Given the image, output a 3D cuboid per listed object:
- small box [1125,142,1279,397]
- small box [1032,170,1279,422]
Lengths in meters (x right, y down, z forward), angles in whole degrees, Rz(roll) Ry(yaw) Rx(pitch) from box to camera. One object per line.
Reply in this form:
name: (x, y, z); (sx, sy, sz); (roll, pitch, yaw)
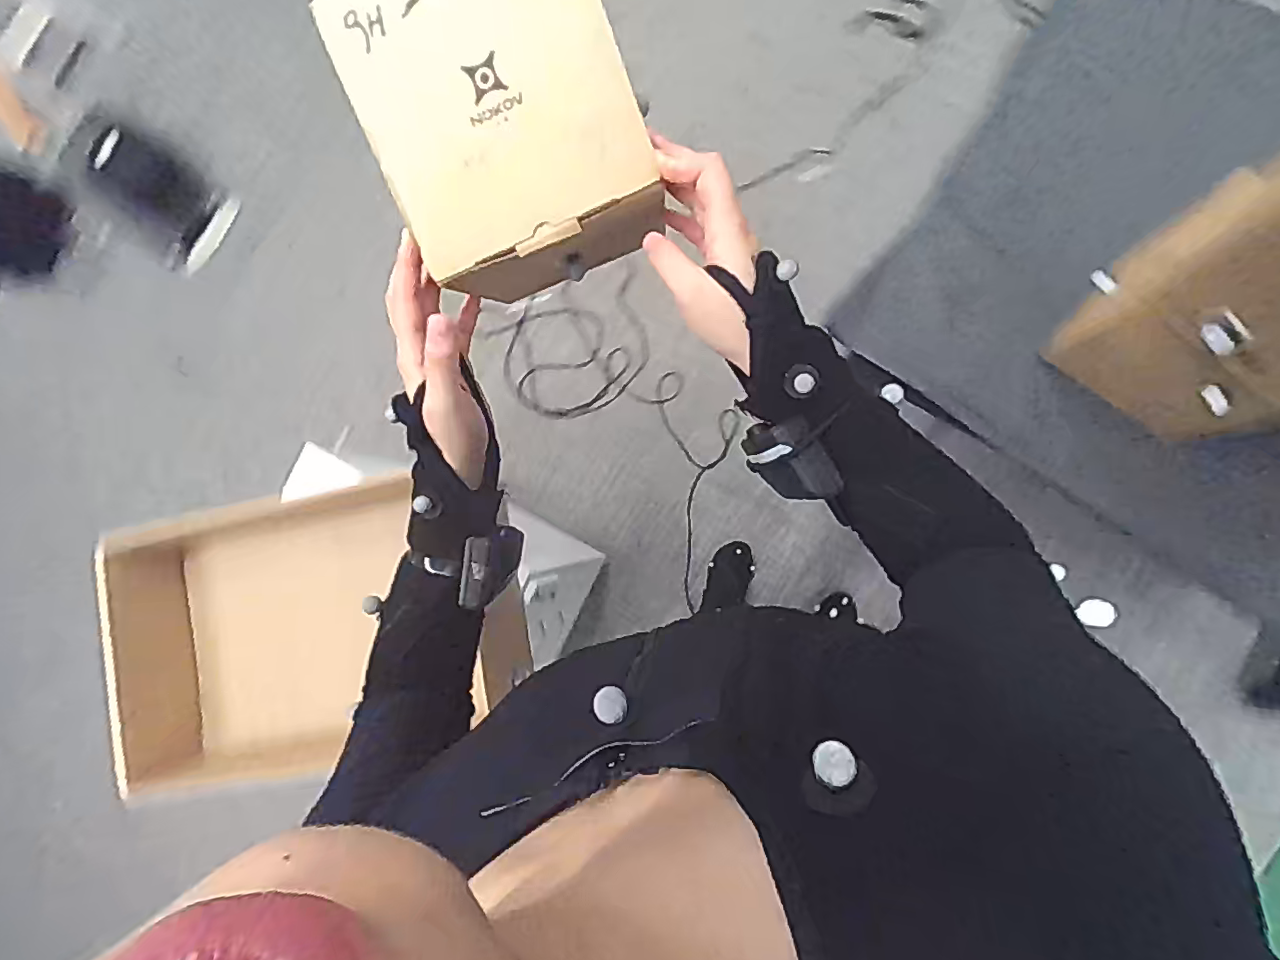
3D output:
small box: (0.565, -0.195, 0.433); (0.179, 0.176, 0.168); (-45, 78, 4)
small box: (0.595, -0.181, 0.592); (0.179, 0.176, 0.168); (40, 91, 11)
